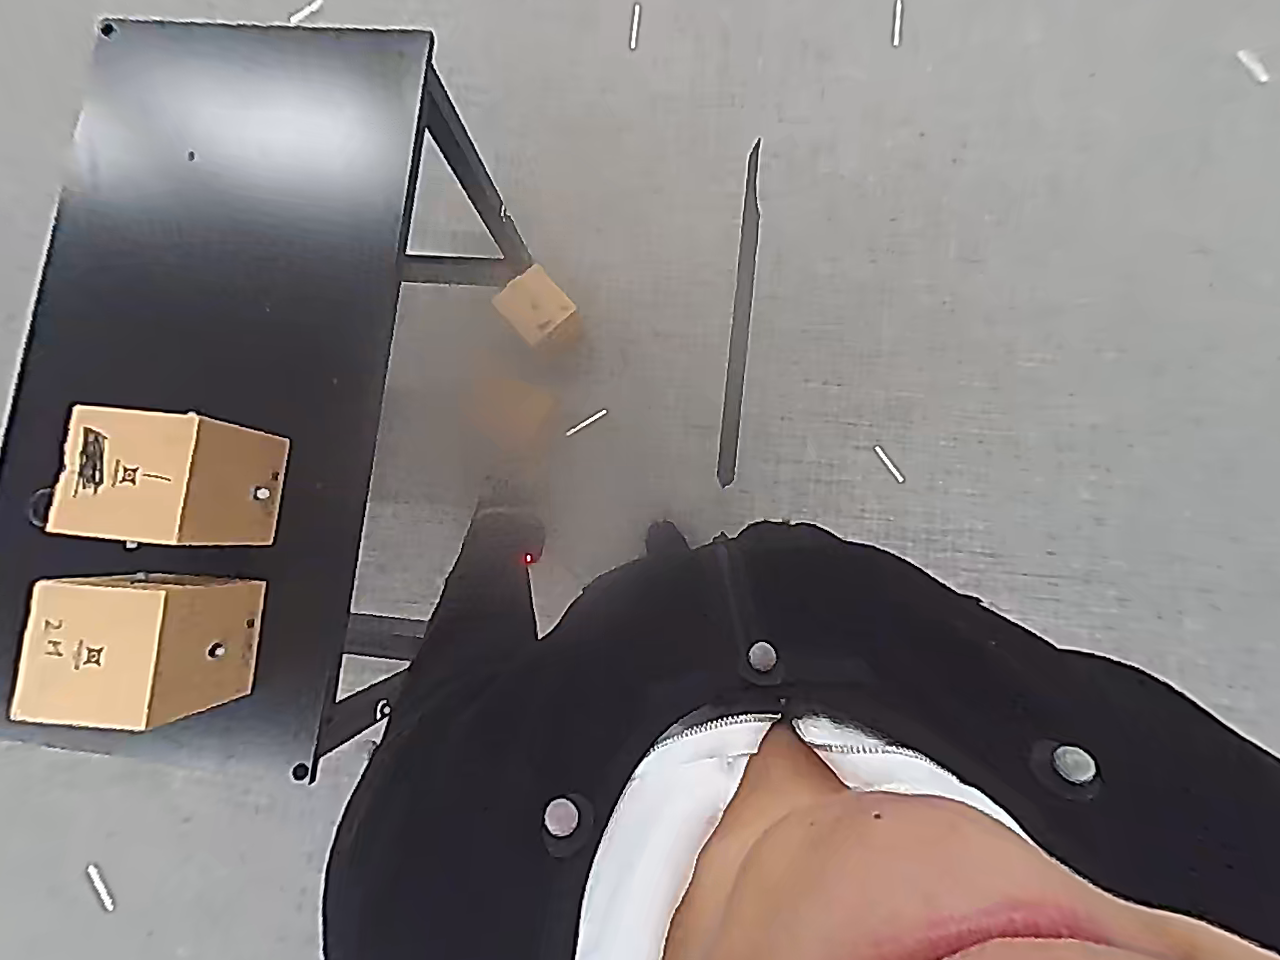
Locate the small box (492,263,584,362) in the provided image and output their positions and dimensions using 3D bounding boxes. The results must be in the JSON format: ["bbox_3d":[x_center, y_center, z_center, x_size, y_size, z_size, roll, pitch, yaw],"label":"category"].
[{"bbox_3d":[-0.279,-0.463,1.521,0.168,0.176,0.179,-41,83,-1],"label":"small box"}]

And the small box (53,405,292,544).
[{"bbox_3d":[-0.639,0.000,0.760,0.179,0.176,0.168,5,85,3],"label":"small box"}]
